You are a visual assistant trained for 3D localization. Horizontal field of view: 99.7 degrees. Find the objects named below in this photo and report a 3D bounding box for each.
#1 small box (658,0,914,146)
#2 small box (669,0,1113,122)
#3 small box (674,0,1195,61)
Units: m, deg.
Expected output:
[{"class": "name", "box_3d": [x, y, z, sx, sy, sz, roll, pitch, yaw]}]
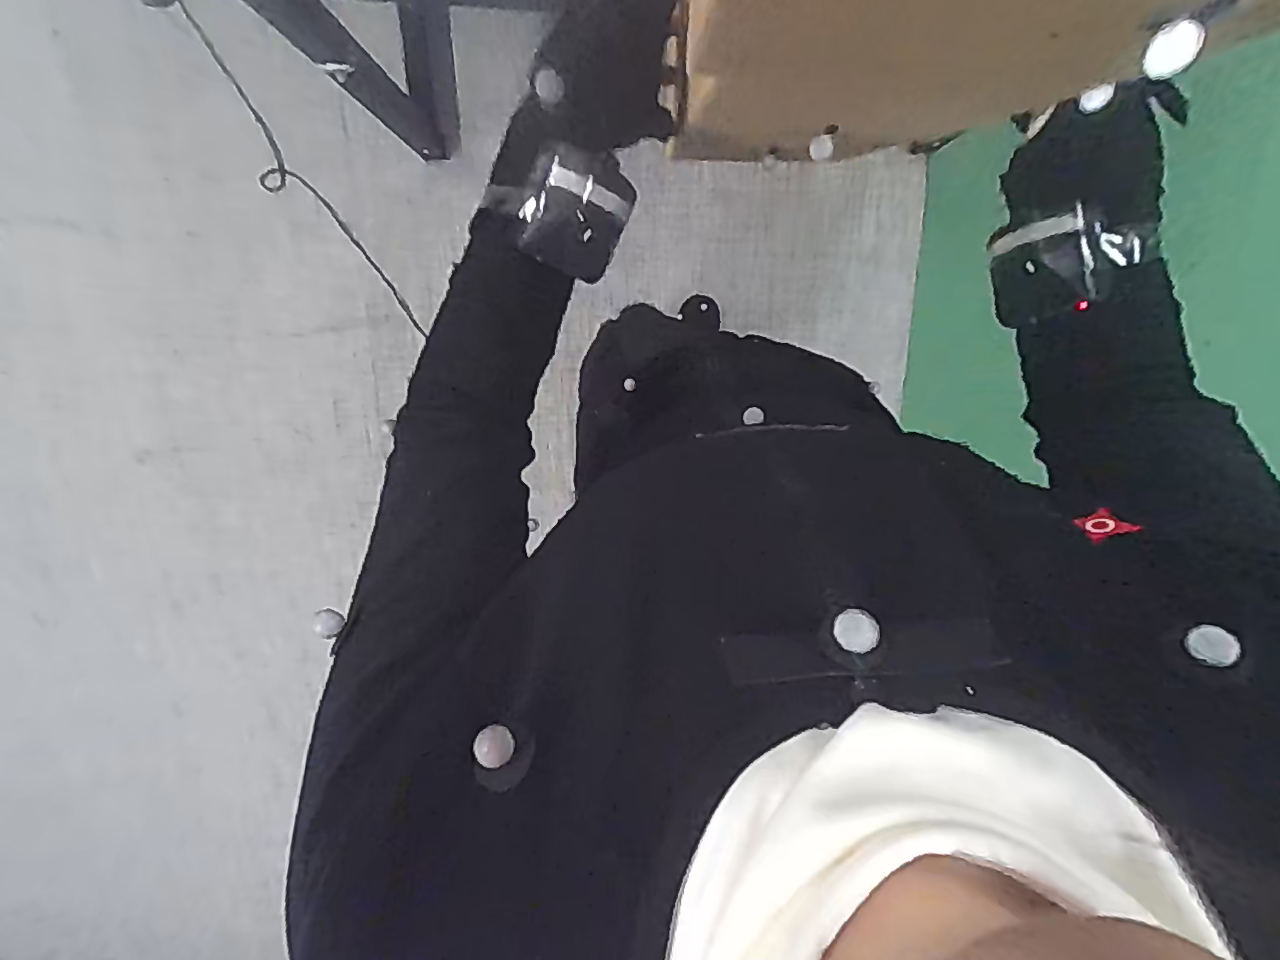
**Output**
[{"class": "small box", "box_3d": [0.110, -0.364, 0.409, 0.179, 0.176, 0.168, 3, 113, -2]}, {"class": "small box", "box_3d": [0.112, -0.290, 0.265, 0.179, 0.176, 0.168, 0, 114, -2]}, {"class": "small box", "box_3d": [0.101, -0.218, 0.120, 0.179, 0.176, 0.168, 1, 114, 0]}]
